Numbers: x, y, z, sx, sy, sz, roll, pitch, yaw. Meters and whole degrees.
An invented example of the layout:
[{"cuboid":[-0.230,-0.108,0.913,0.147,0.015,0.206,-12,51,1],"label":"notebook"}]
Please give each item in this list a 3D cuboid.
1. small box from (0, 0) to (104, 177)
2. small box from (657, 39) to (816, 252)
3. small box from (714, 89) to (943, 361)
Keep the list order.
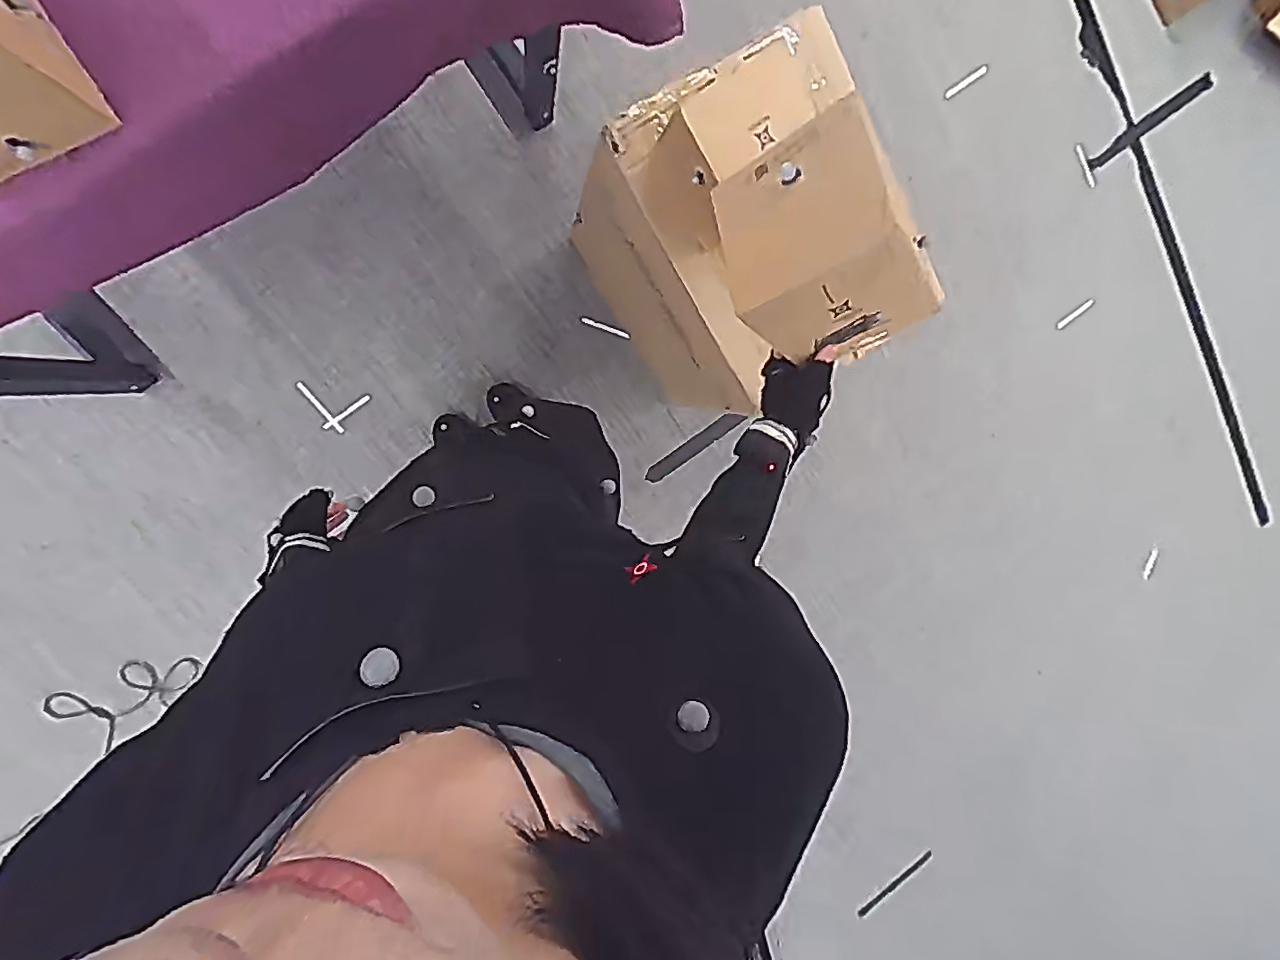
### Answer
[{"cuboid":[-0.670,-0.414,0.501,0.179,0.176,0.168,-30,103,-7],"label":"small box"},{"cuboid":[0.146,-0.460,0.778,0.168,0.176,0.179,-36,106,-2],"label":"small box"},{"cuboid":[0.201,-0.260,0.585,0.179,0.168,0.176,14,61,-49],"label":"small box"}]
